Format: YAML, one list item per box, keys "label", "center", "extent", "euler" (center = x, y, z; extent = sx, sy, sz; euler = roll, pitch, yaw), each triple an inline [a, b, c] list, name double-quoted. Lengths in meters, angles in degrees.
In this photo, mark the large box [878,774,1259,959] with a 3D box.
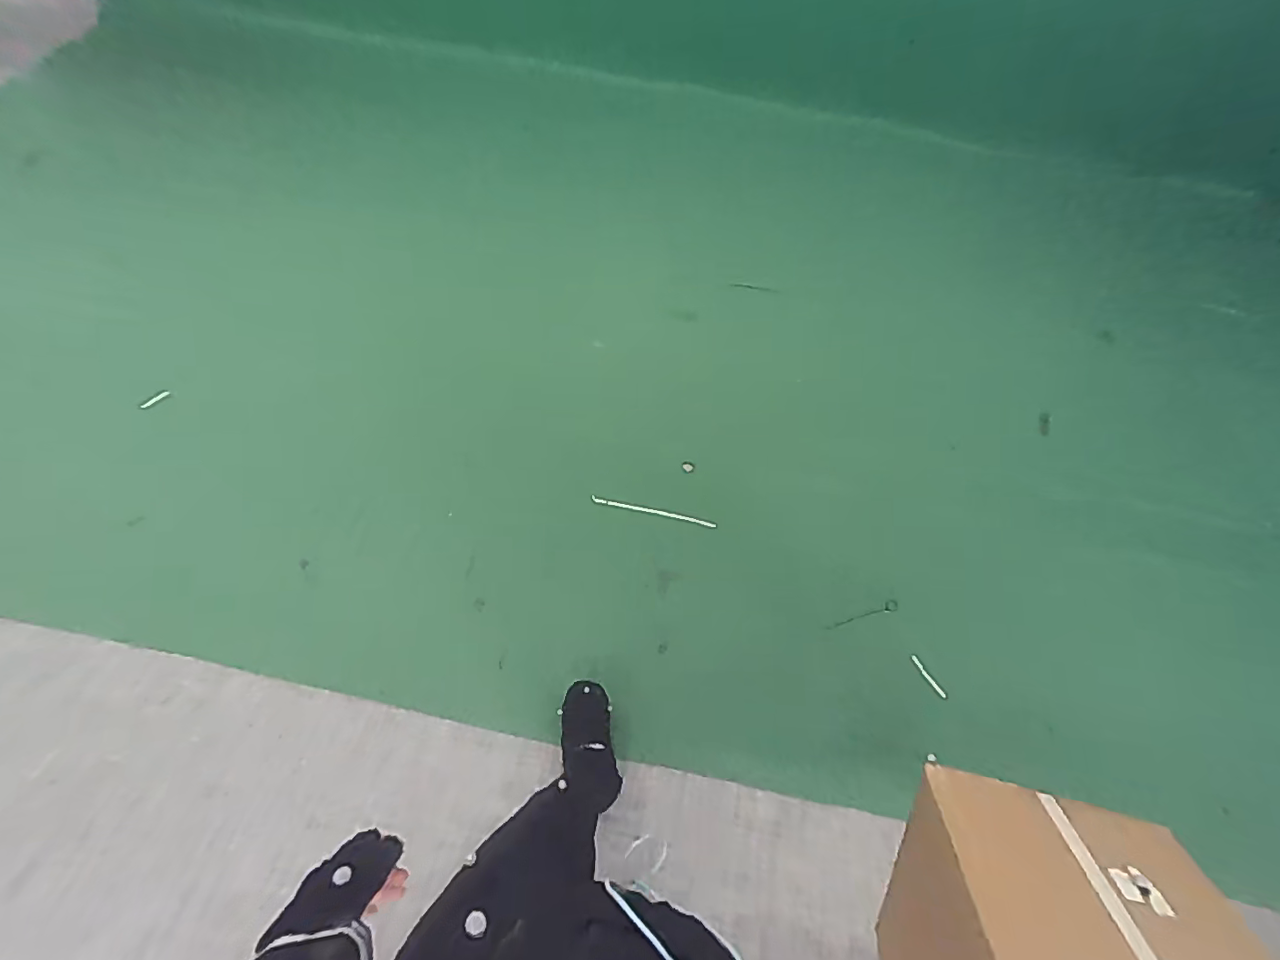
- label: "large box"
  center: [0.498, 0.643, 0.617]
  extent: [0.320, 0.408, 0.320]
  euler: [11, 102, 12]
